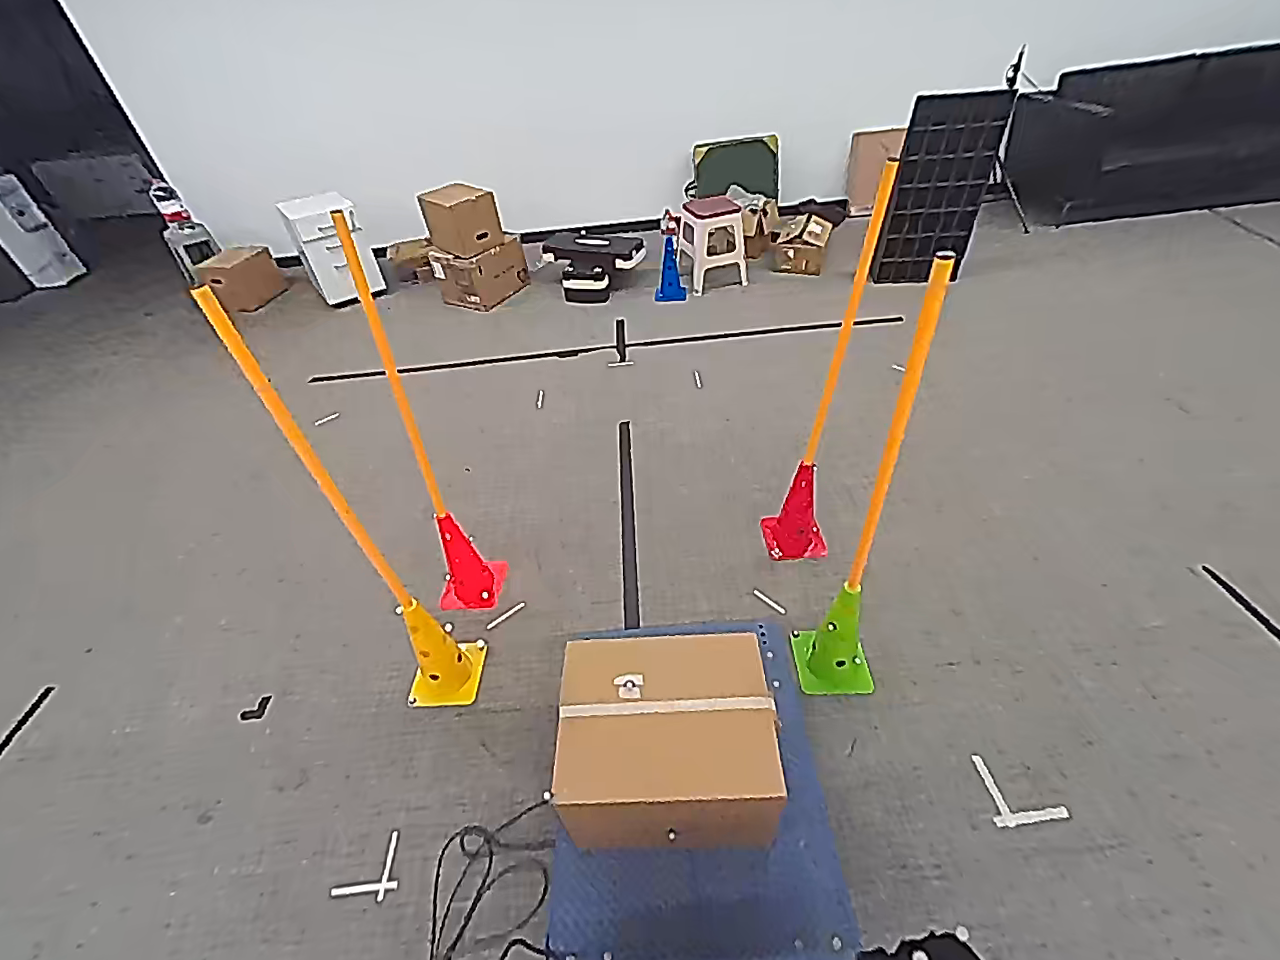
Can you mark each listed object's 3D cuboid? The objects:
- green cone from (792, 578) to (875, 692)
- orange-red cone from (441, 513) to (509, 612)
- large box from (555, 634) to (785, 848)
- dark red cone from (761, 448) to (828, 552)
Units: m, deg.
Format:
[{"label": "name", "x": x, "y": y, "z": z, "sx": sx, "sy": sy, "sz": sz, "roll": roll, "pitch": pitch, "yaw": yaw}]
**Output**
[{"label": "green cone", "x": 0.547, "y": 0.394, "z": 1.459, "sx": 0.202, "sy": 0.368, "sz": 0.200, "roll": -2, "pitch": 42, "yaw": 3}, {"label": "orange-red cone", "x": -0.581, "y": 0.245, "z": 1.771, "sx": 0.198, "sy": 0.360, "sz": 0.199, "roll": 0, "pitch": 41, "yaw": 6}, {"label": "large box", "x": 0.062, "y": 0.550, "z": 1.133, "sx": 0.408, "sy": 0.320, "sz": 0.320, "roll": -4, "pitch": 42, "yaw": 3}, {"label": "dark red cone", "x": 0.537, "y": 0.057, "z": 1.808, "sx": 0.201, "sy": 0.394, "sz": 0.202, "roll": -4, "pitch": 42, "yaw": -1}]
